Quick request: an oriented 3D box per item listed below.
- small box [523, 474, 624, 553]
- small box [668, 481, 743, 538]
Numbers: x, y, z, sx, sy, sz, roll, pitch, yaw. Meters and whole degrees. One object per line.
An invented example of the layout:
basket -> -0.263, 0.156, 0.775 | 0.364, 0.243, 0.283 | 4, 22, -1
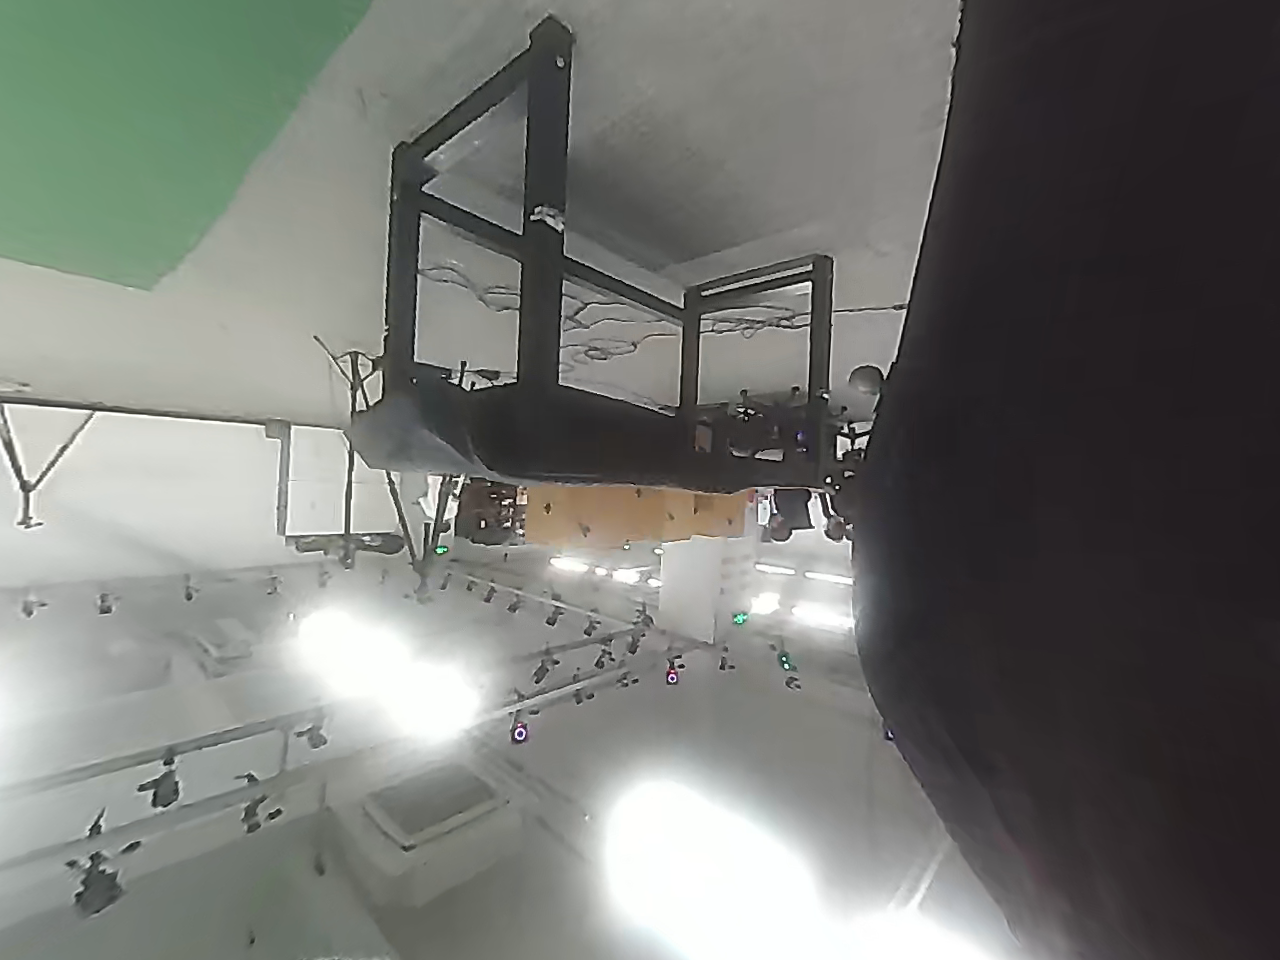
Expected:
small box -> -0.153, 0.073, 1.259 | 0.168, 0.176, 0.179 | 3, 180, 43
small box -> 0.204, 0.088, 1.680 | 0.179, 0.176, 0.168 | 2, 180, -43
